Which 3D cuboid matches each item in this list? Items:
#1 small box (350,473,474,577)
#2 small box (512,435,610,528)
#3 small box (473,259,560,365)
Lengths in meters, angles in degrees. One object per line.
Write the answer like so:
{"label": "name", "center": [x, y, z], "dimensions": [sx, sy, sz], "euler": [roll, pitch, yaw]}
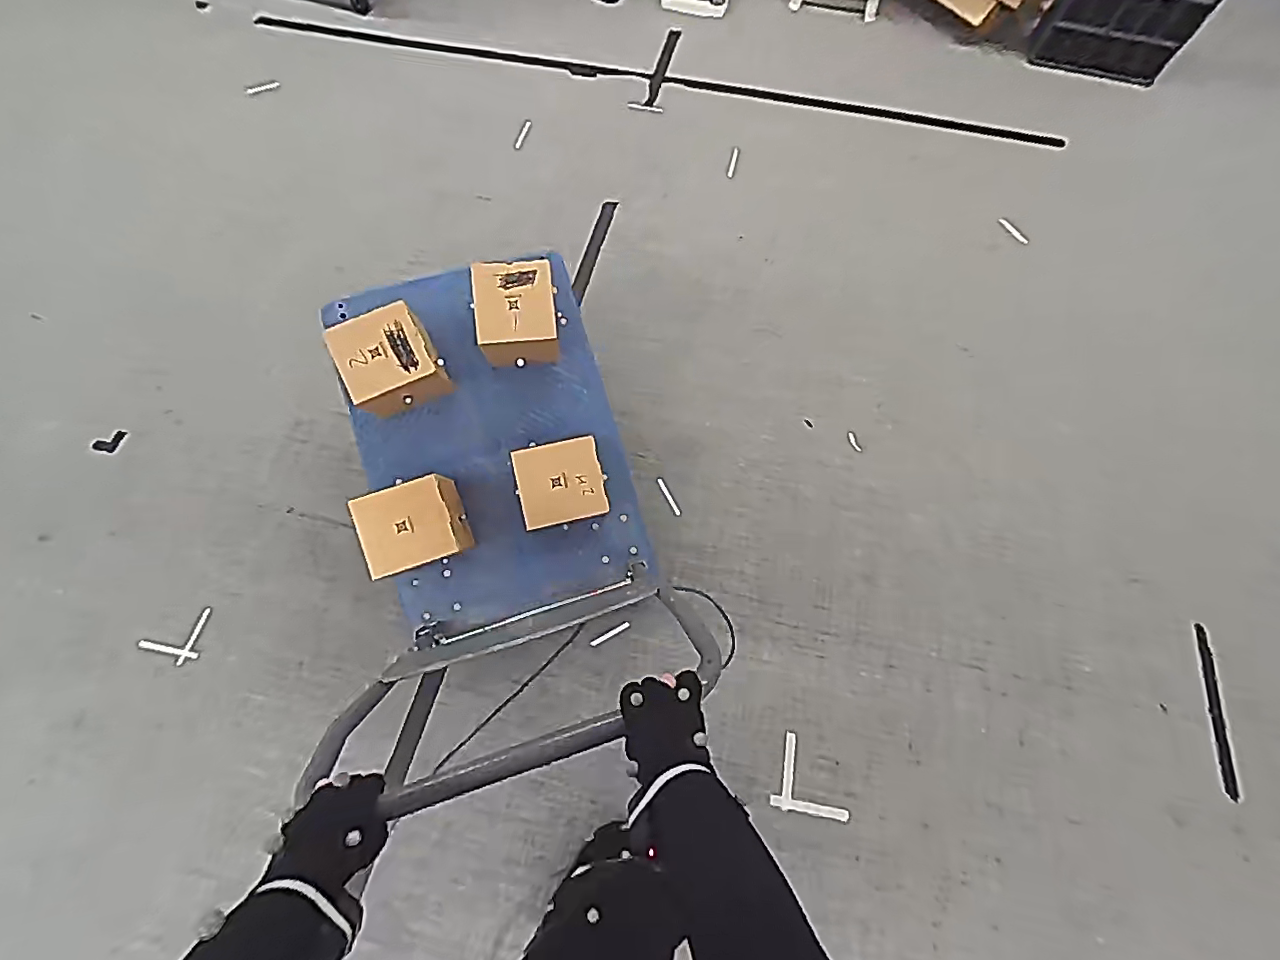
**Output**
{"label": "small box", "center": [-0.471, 0.096, 1.142], "dimensions": [0.179, 0.176, 0.168], "euler": [-19, 87, -10]}
{"label": "small box", "center": [-0.169, 0.009, 1.185], "dimensions": [0.179, 0.176, 0.168], "euler": [-12, 87, -8]}
{"label": "small box", "center": [-0.269, -0.368, 1.206], "dimensions": [0.168, 0.176, 0.179], "euler": [-6, 87, -7]}
